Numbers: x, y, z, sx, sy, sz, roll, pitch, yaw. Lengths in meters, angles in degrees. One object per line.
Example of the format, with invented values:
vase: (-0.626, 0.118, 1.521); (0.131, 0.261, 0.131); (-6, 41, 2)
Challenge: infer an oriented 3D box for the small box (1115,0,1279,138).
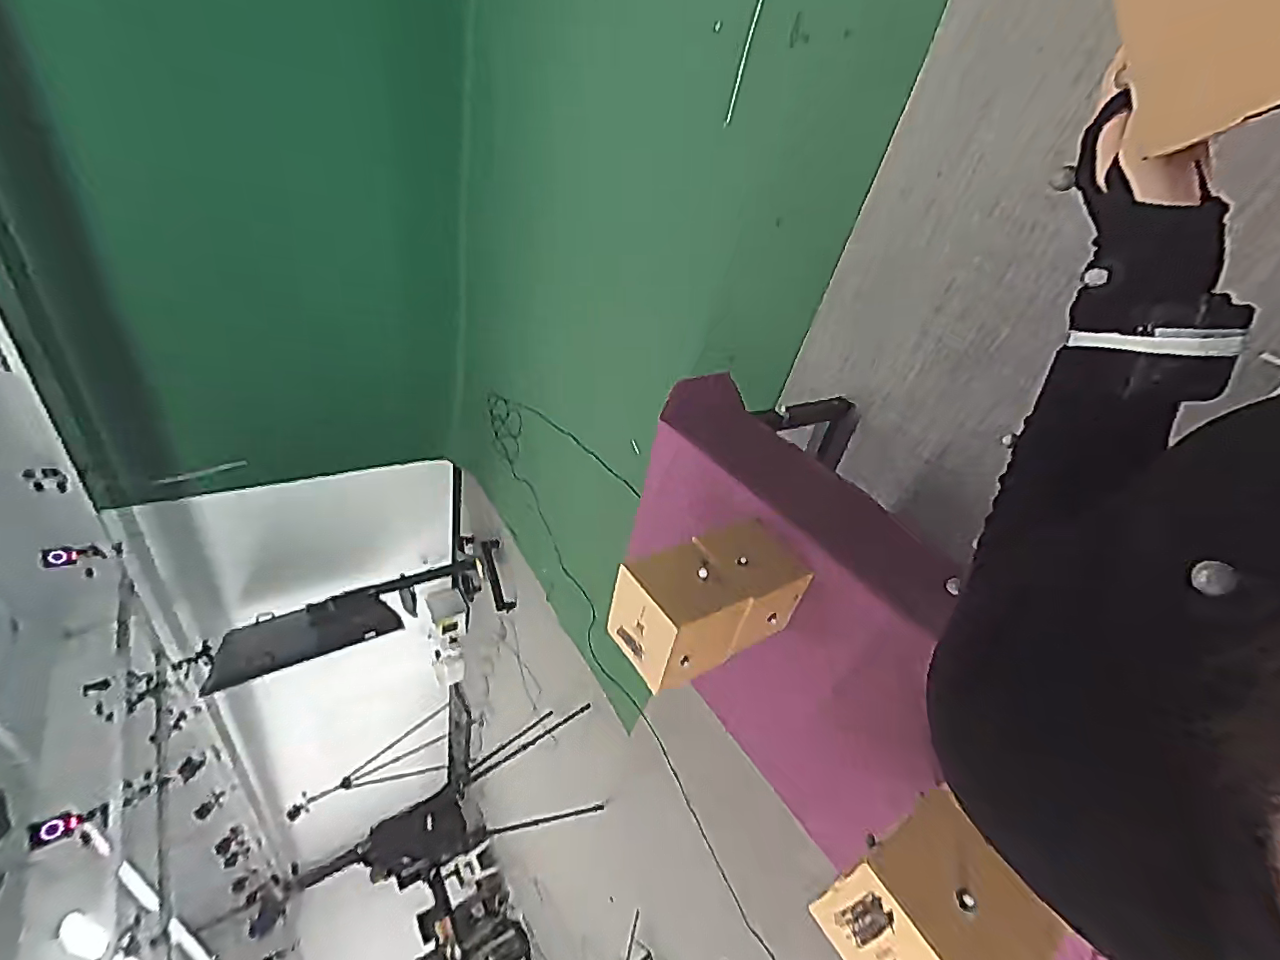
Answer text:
small box: (0.309, -0.274, 0.214); (0.168, 0.176, 0.179); (-4, 112, 53)

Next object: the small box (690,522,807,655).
small box: (0.196, 0.203, 1.068); (0.179, 0.176, 0.168); (47, 135, 37)

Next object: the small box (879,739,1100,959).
small box: (0.481, 0.504, 0.752); (0.168, 0.176, 0.179); (47, 135, 38)

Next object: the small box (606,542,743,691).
small box: (0.061, 0.239, 0.981); (0.168, 0.176, 0.179); (44, 133, 39)
